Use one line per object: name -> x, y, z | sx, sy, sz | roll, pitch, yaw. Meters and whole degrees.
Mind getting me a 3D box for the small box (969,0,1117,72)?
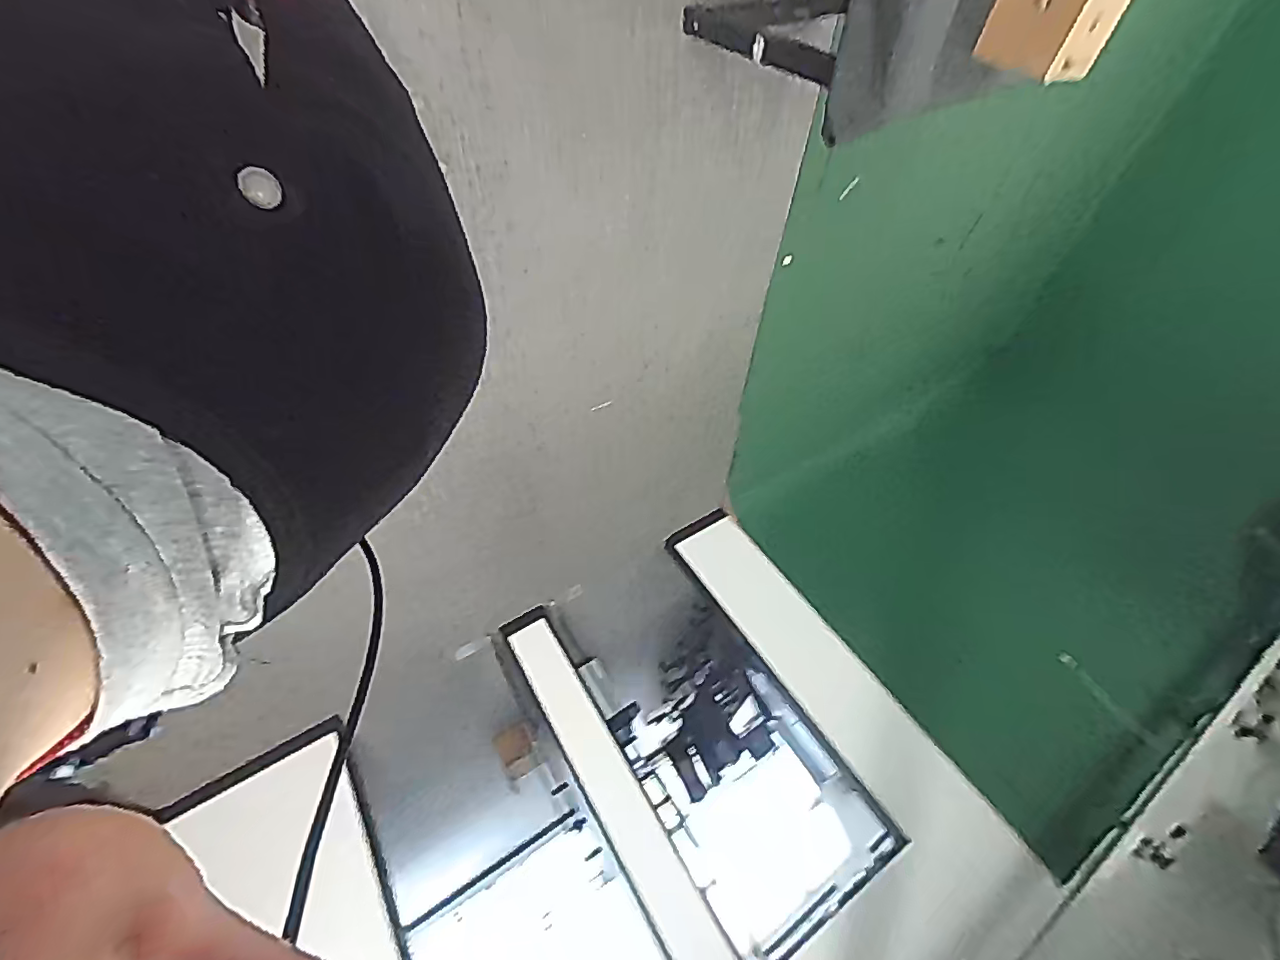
small box -> 0.788, -0.918, 1.047 | 0.168, 0.176, 0.179 | -23, 145, -25
